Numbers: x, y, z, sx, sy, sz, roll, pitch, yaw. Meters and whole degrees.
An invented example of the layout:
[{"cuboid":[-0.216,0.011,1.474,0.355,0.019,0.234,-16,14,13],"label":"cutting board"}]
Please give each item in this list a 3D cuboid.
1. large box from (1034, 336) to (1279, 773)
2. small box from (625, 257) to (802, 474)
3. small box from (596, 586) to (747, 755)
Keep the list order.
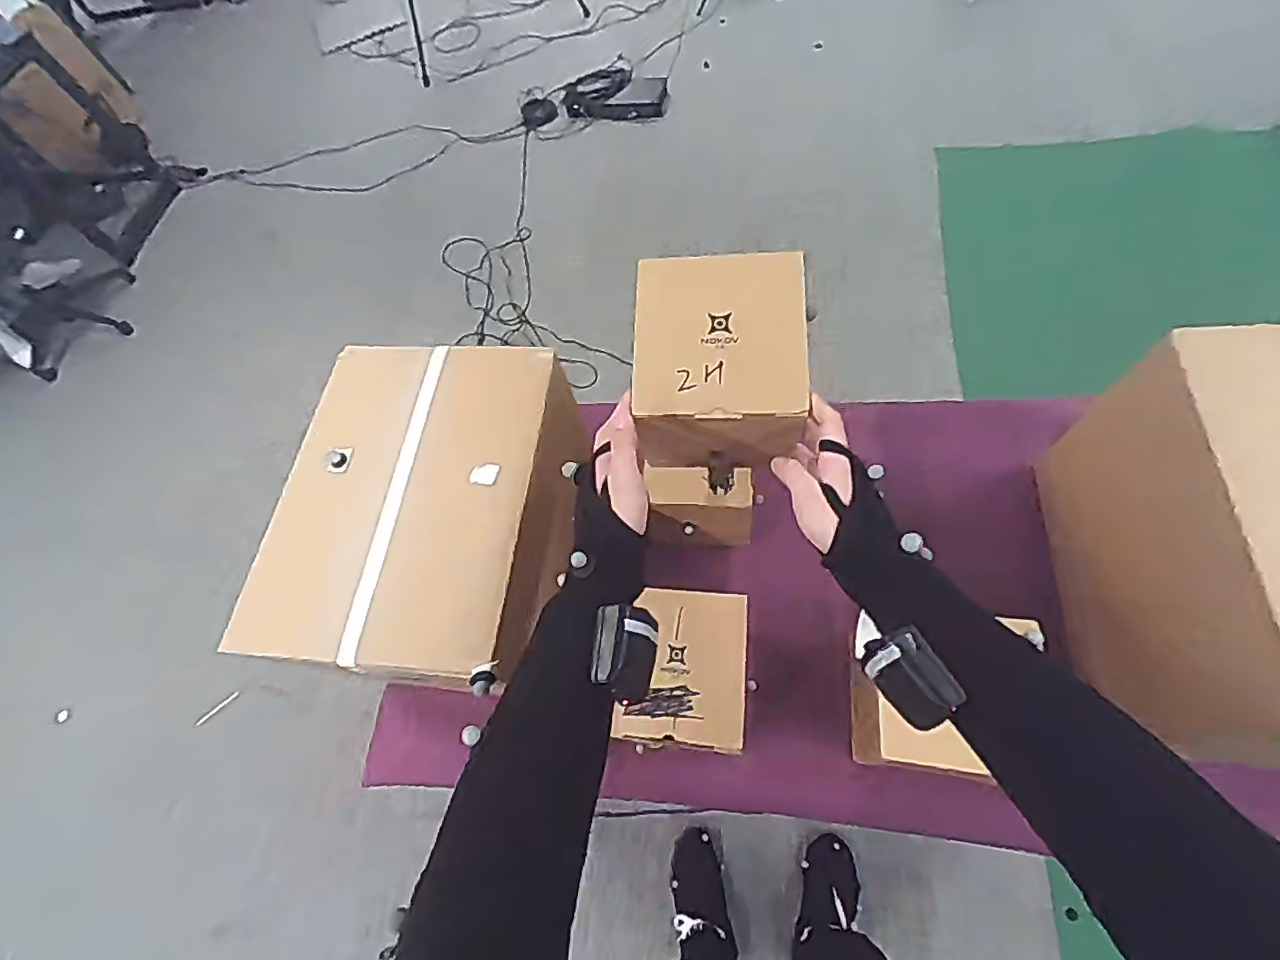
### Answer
[{"cuboid":[0.709,0.098,0.595,0.320,0.320,0.408,2,65,12],"label":"large box"},{"cuboid":[0.081,-0.116,0.595,0.168,0.176,0.179,1,74,9],"label":"small box"},{"cuboid":[0.051,0.252,0.703,0.168,0.176,0.179,3,63,10],"label":"small box"}]
